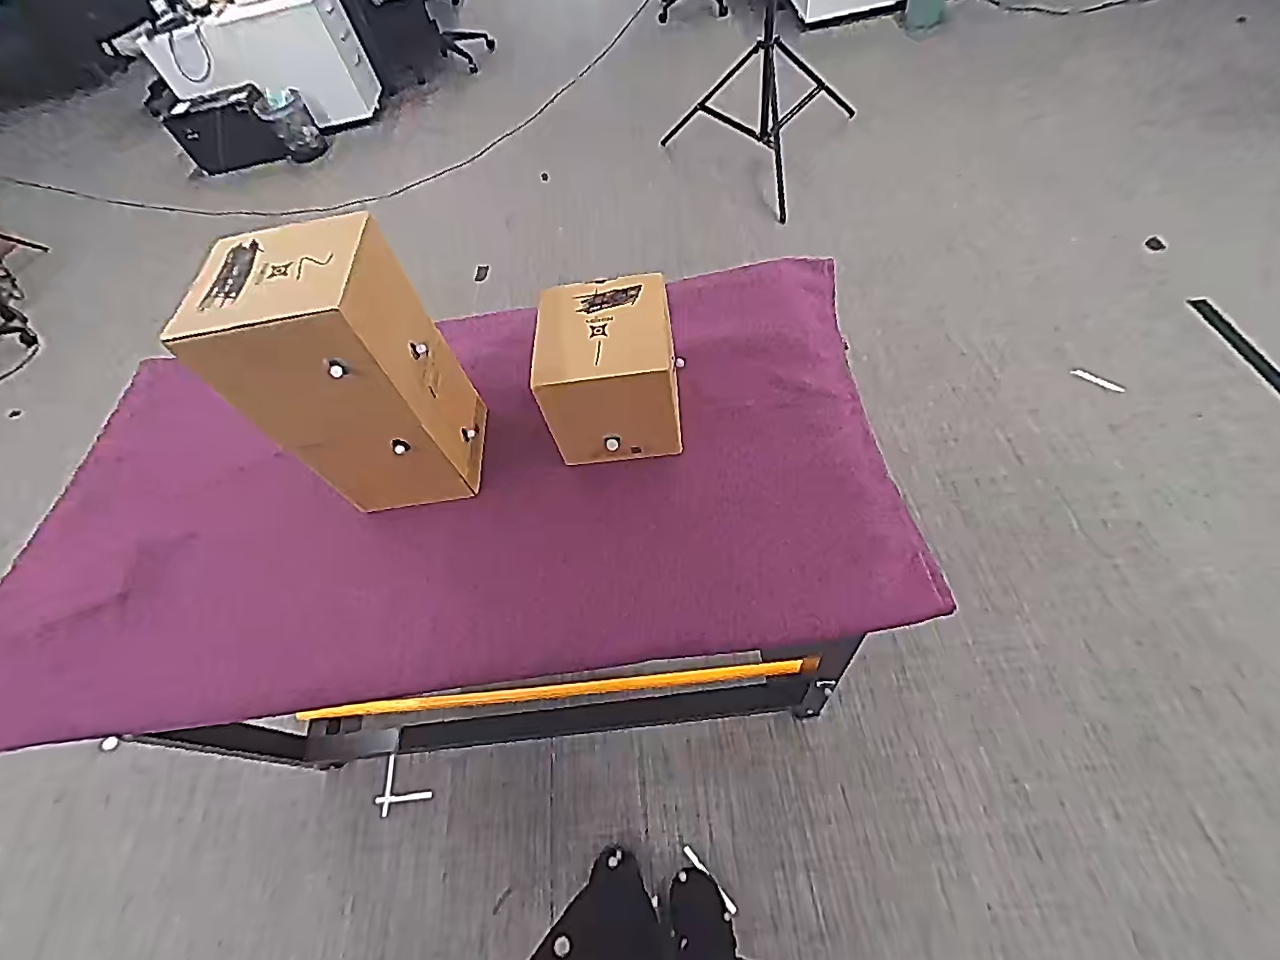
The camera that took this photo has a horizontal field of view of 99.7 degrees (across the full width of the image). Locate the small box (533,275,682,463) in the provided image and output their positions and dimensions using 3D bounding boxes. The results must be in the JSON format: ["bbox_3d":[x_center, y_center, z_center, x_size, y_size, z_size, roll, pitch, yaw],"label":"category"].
[{"bbox_3d":[-0.034,-0.144,0.731,0.168,0.176,0.179,-6,57,7],"label":"small box"}]

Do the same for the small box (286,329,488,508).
[{"bbox_3d":[-0.329,-0.077,0.743,0.179,0.176,0.168,-9,56,4],"label":"small box"}]
